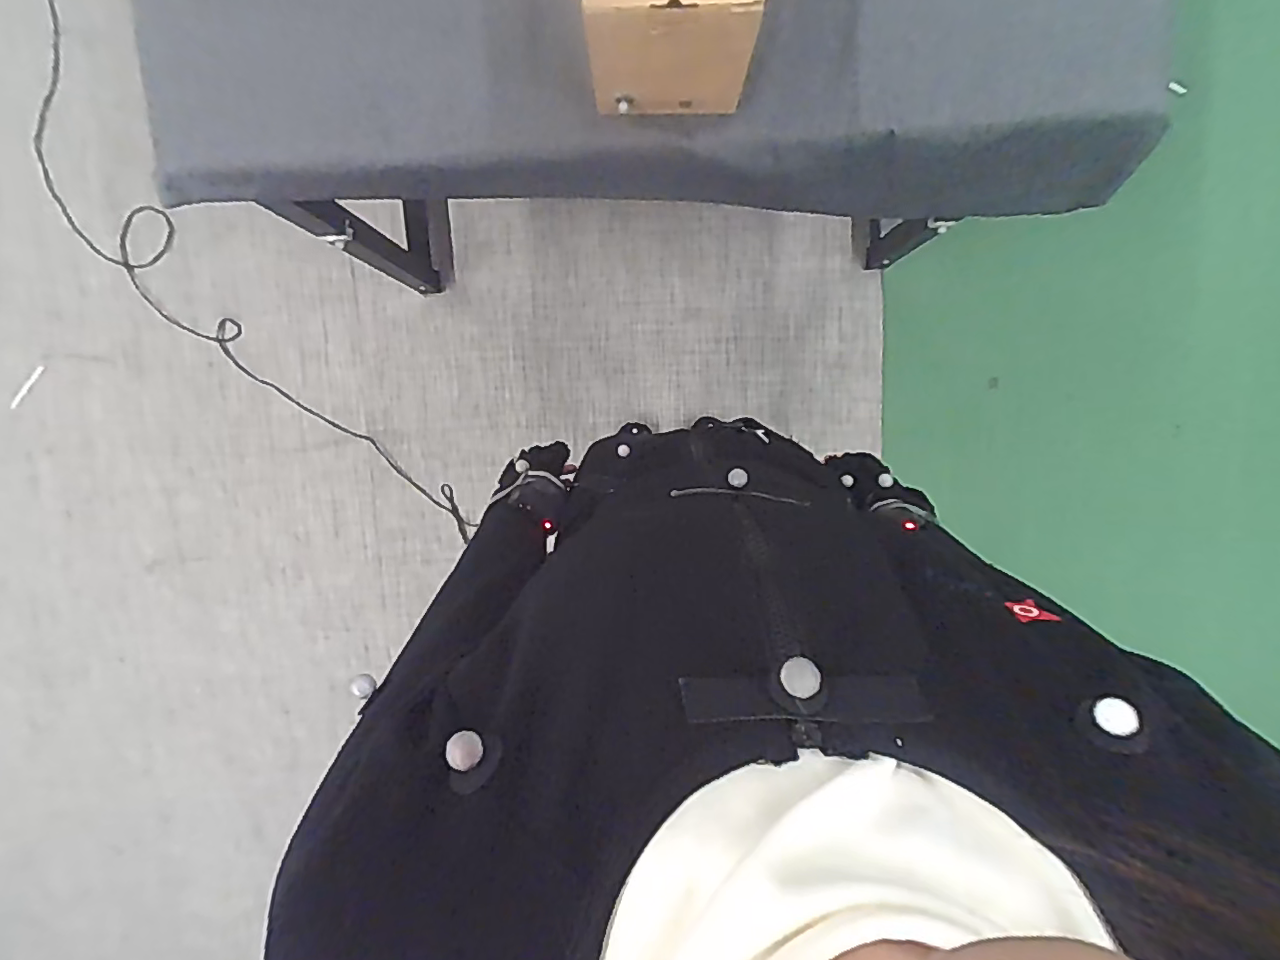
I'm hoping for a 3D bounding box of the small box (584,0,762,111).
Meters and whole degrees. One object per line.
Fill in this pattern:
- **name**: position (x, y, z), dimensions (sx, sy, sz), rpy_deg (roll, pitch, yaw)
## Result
- **small box**: position (0.033, -0.520, 0.565), dimensions (0.168, 0.176, 0.179), rpy_deg (1, 95, 0)
